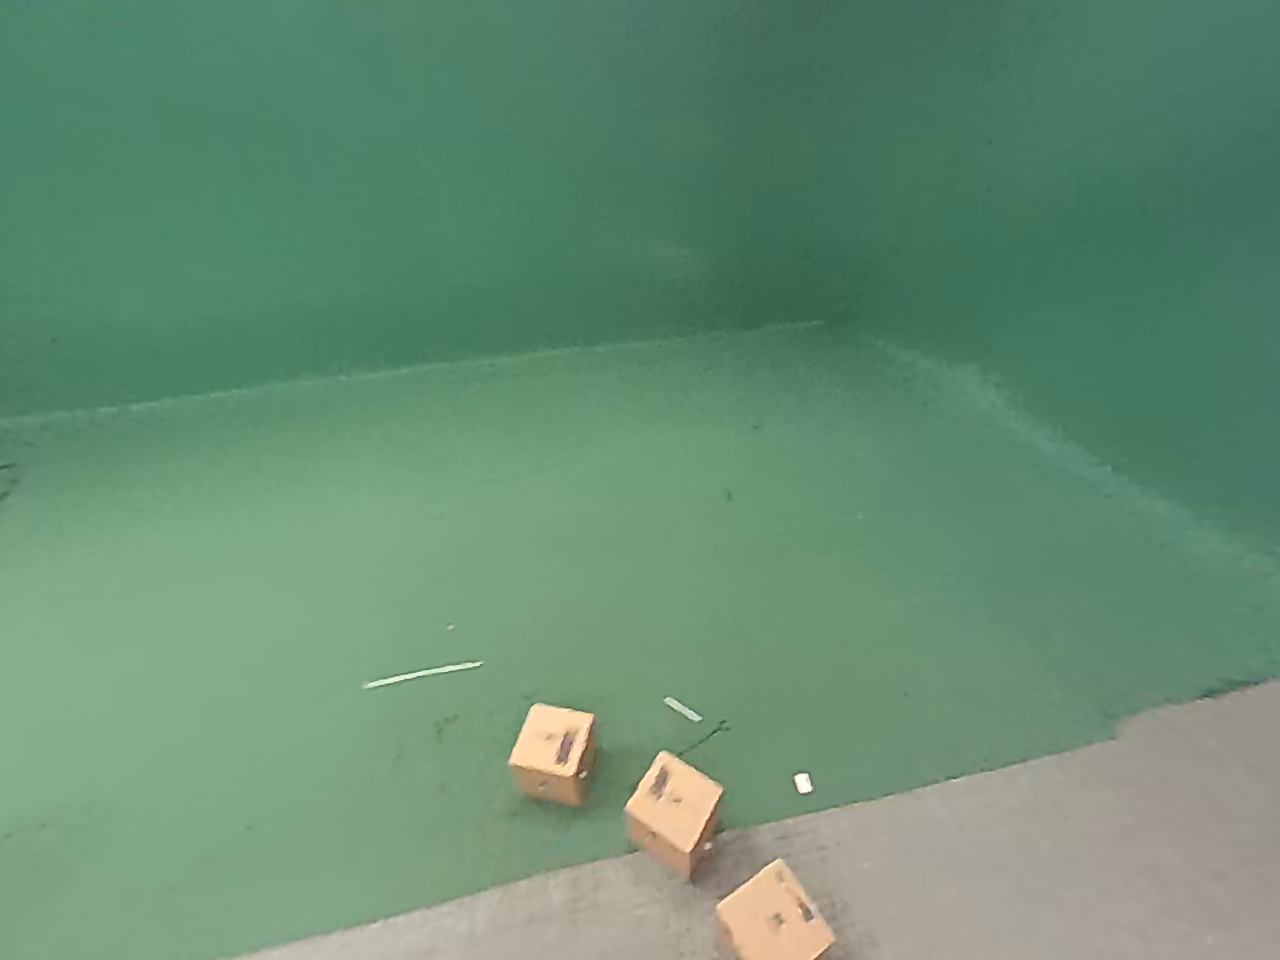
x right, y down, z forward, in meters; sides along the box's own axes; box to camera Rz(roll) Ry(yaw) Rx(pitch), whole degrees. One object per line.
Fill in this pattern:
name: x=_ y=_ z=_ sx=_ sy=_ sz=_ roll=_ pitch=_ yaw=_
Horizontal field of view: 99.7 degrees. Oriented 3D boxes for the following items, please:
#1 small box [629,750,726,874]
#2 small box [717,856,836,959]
small box: x=0.092 y=0.812 z=1.321 sx=0.179 sy=0.176 sz=0.168 roll=21 pitch=43 yaw=28
small box: x=0.277 y=0.945 z=1.126 sx=0.179 sy=0.176 sz=0.168 roll=-21 pitch=40 yaw=-21
